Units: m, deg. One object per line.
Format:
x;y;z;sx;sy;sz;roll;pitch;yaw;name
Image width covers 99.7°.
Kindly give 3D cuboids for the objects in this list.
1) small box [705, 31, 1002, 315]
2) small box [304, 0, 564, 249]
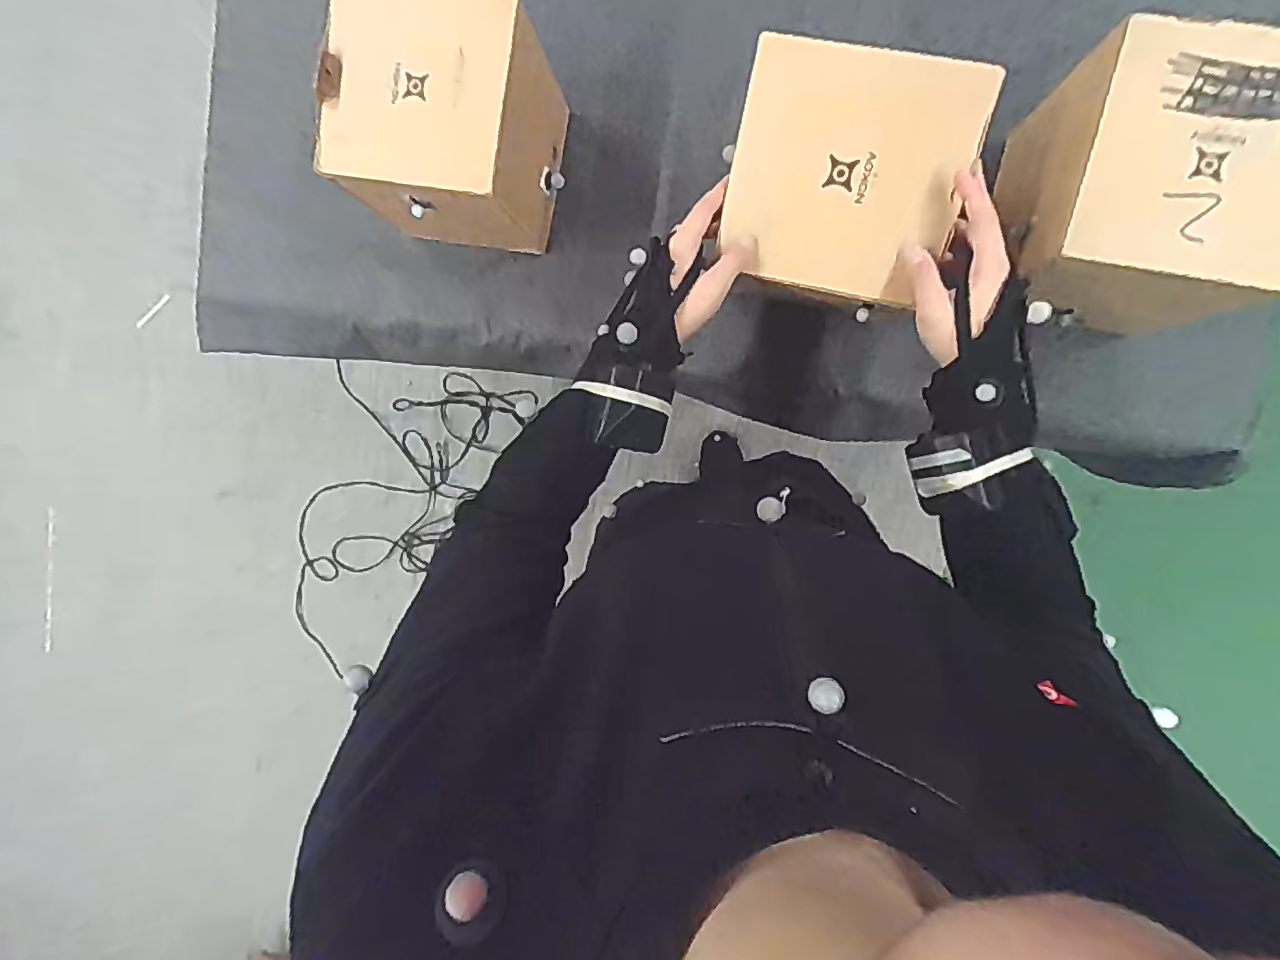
0.164;-0.248;0.480;0.179;0.176;0.168;14;106;5;small box
-0.192;-0.350;0.544;0.179;0.176;0.168;11;97;6;small box
